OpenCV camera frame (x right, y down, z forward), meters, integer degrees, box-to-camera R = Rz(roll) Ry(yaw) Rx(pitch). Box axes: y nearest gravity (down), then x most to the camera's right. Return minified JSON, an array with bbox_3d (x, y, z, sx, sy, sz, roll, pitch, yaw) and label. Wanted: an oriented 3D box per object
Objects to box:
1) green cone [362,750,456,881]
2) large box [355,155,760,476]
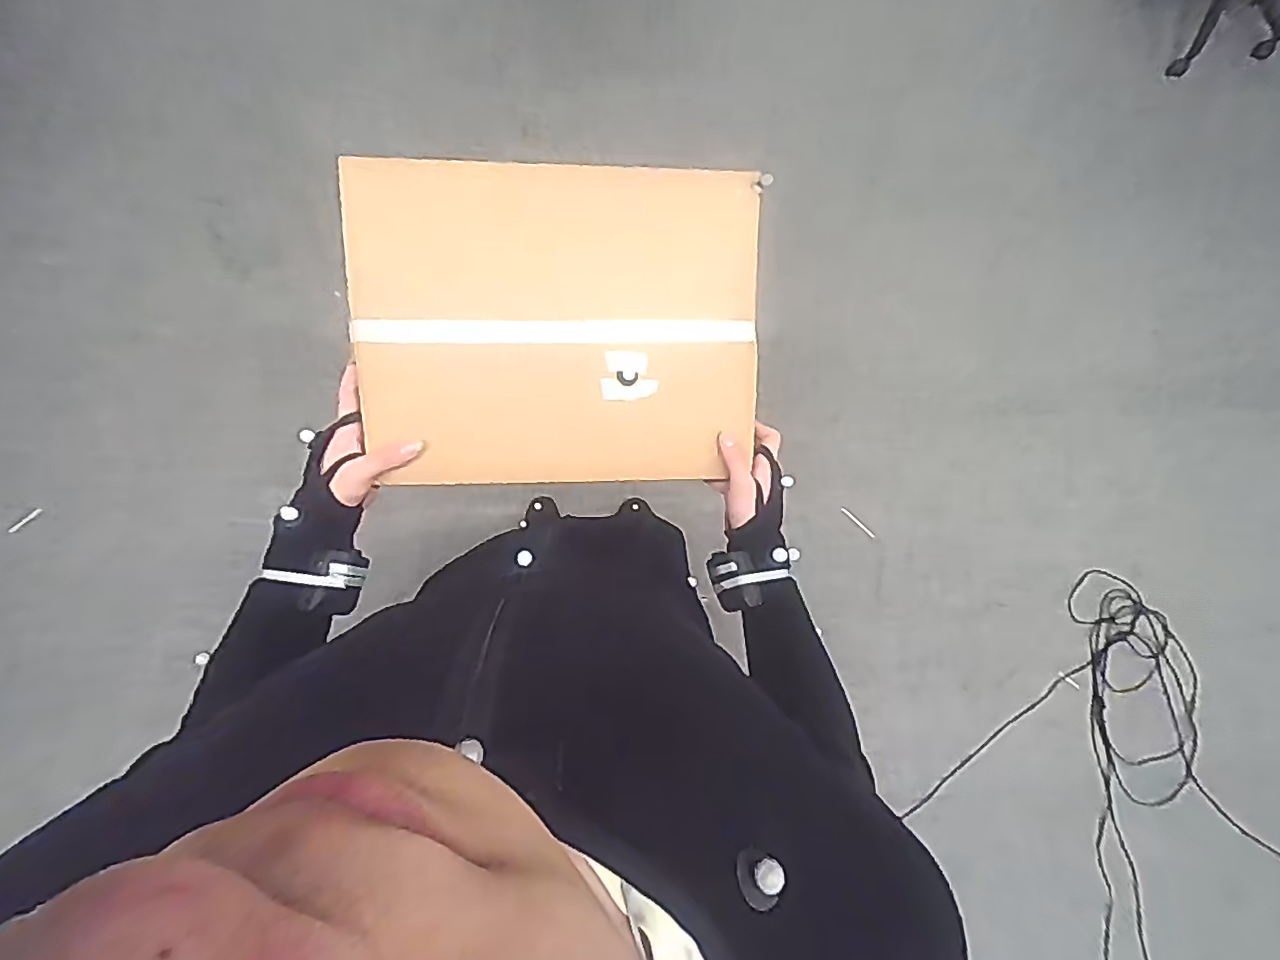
[{"bbox_3d":[-0.623,0.876,1.386,0.200,0.368,0.202,5,88,-5],"label":"green cone"},{"bbox_3d":[-0.088,-0.190,0.702,0.408,0.320,0.320,-2,101,-6],"label":"large box"}]
